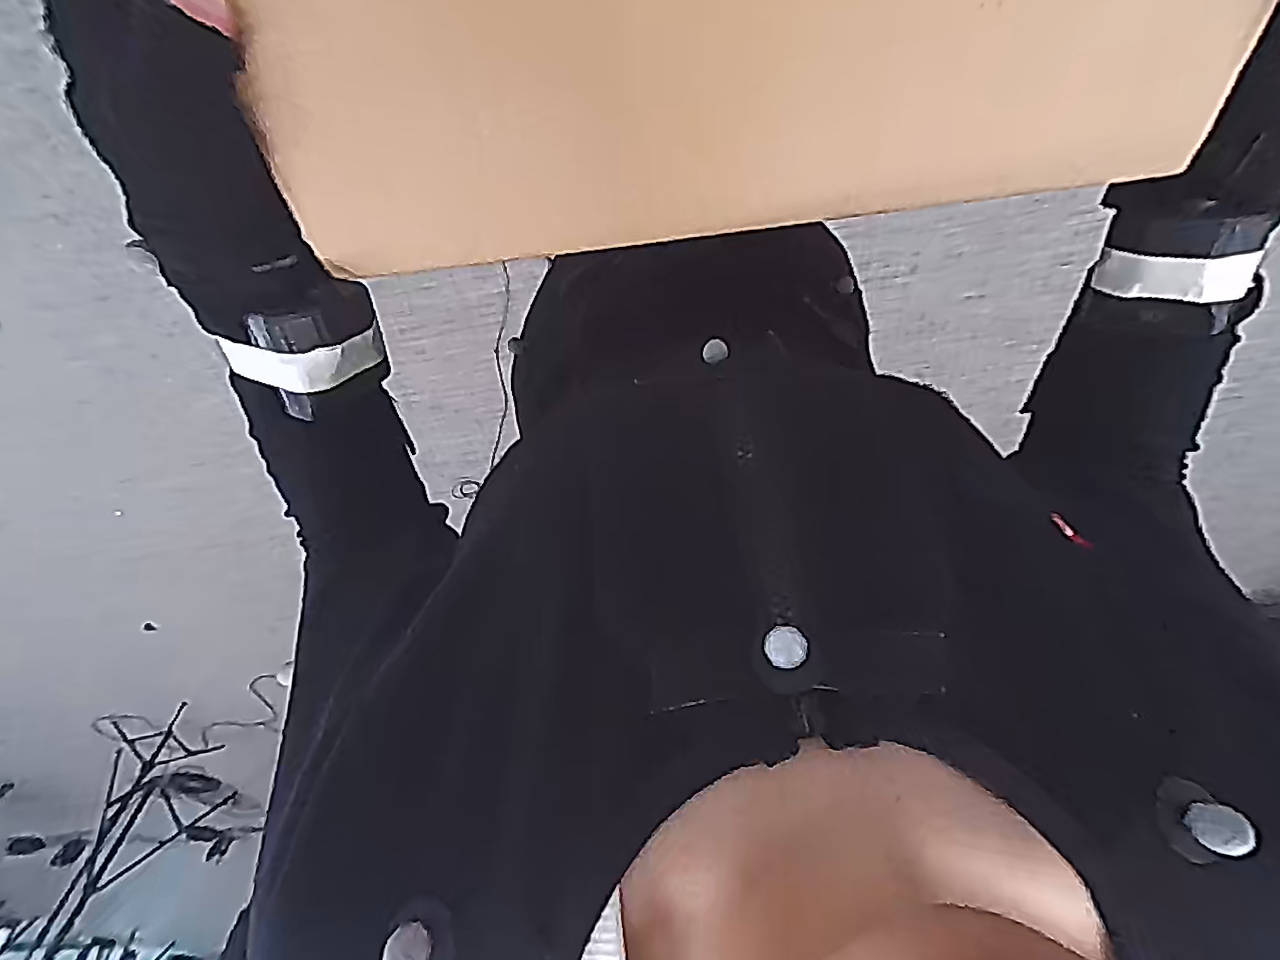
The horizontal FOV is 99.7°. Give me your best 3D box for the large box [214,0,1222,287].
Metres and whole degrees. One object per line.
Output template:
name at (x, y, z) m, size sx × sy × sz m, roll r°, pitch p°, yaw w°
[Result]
large box at (0.026, -0.337, 0.276) m, size 0.408 × 0.320 × 0.320 m, roll -6°, pitch 134°, yaw 4°
